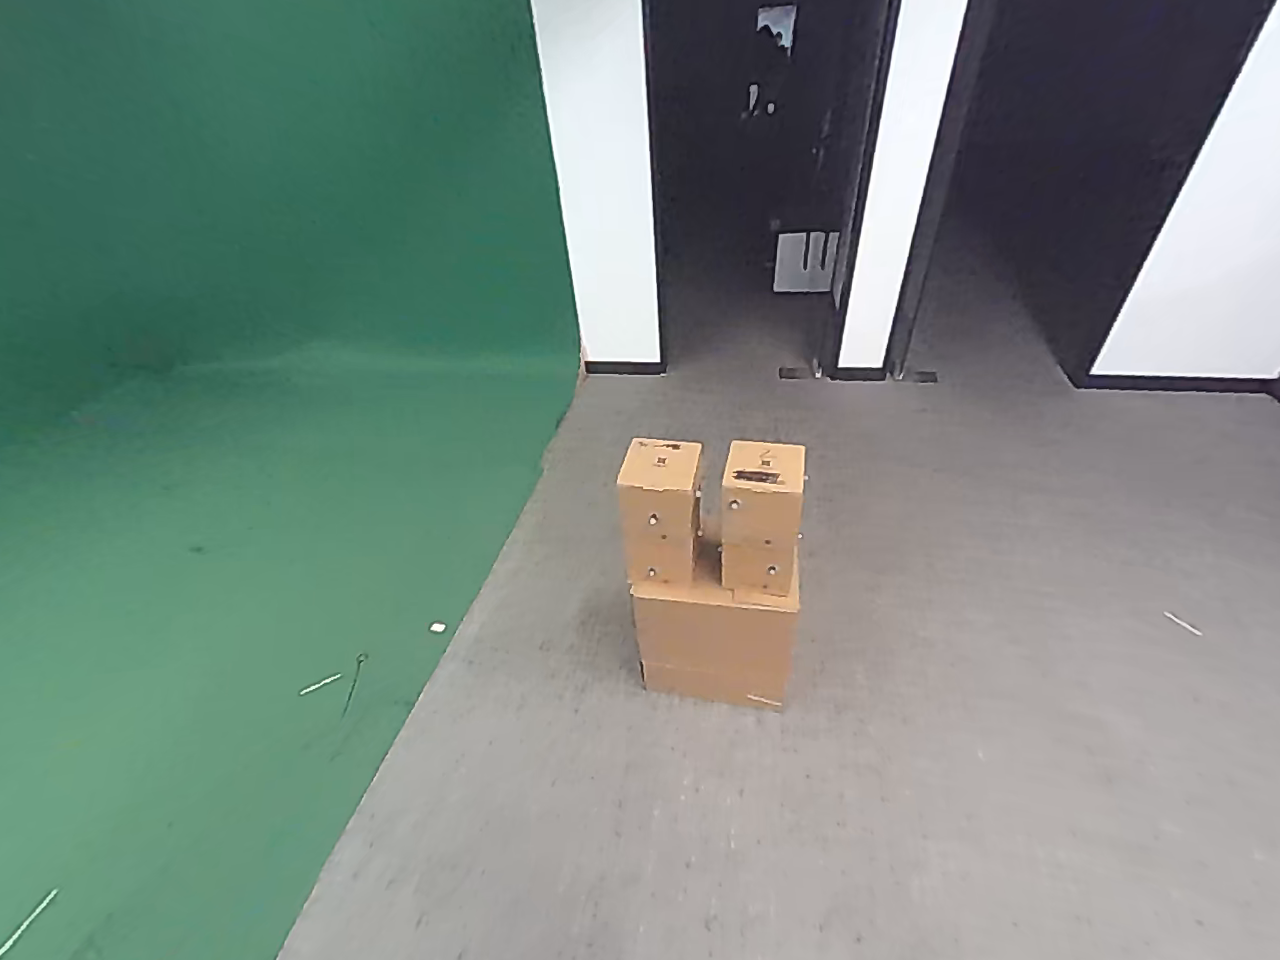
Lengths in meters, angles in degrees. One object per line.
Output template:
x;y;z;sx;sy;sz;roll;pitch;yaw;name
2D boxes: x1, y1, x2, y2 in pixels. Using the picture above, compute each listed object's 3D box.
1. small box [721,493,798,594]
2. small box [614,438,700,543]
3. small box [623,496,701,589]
0.293;0.156;1.325;0.168;0.176;0.179;6;40;14;small box
0.048;0.026;1.255;0.168;0.176;0.179;6;42;12;small box
0.059;0.148;1.364;0.168;0.176;0.179;5;42;11;small box
